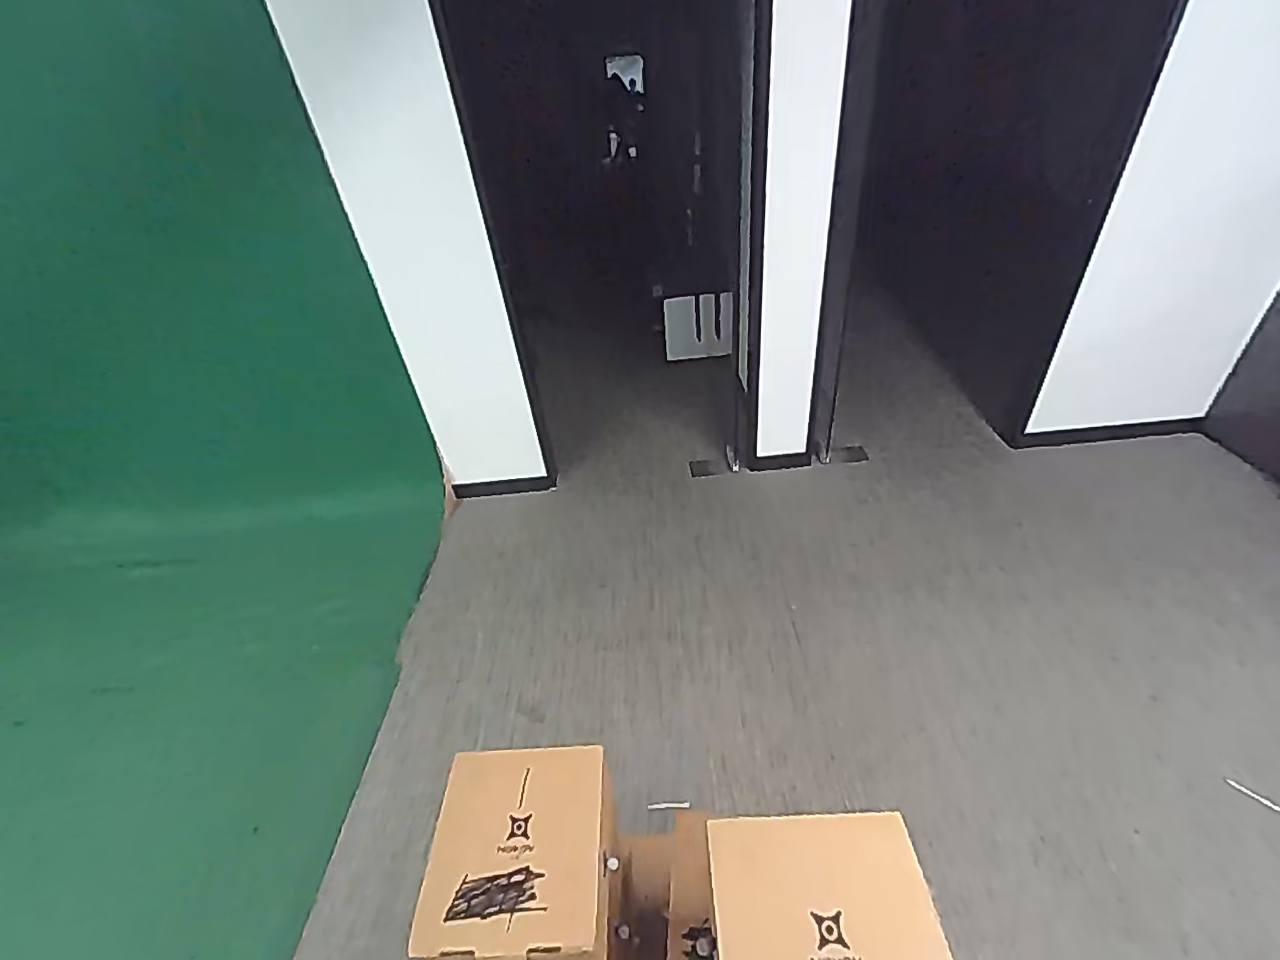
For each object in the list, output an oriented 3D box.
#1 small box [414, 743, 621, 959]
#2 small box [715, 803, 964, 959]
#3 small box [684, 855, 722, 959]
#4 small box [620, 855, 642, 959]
[{"bbox_3d":[-0.109,0.410,0.575,0.168,0.176,0.179,-4,36,1],"label":"small box"},{"bbox_3d":[0.151,0.394,0.438,0.168,0.176,0.179,-6,37,3],"label":"small box"},{"bbox_3d":[0.148,0.656,0.749,0.168,0.176,0.179,-3,37,9],"label":"small box"},{"bbox_3d":[-0.084,0.669,0.776,0.168,0.176,0.179,-3,37,3],"label":"small box"}]
